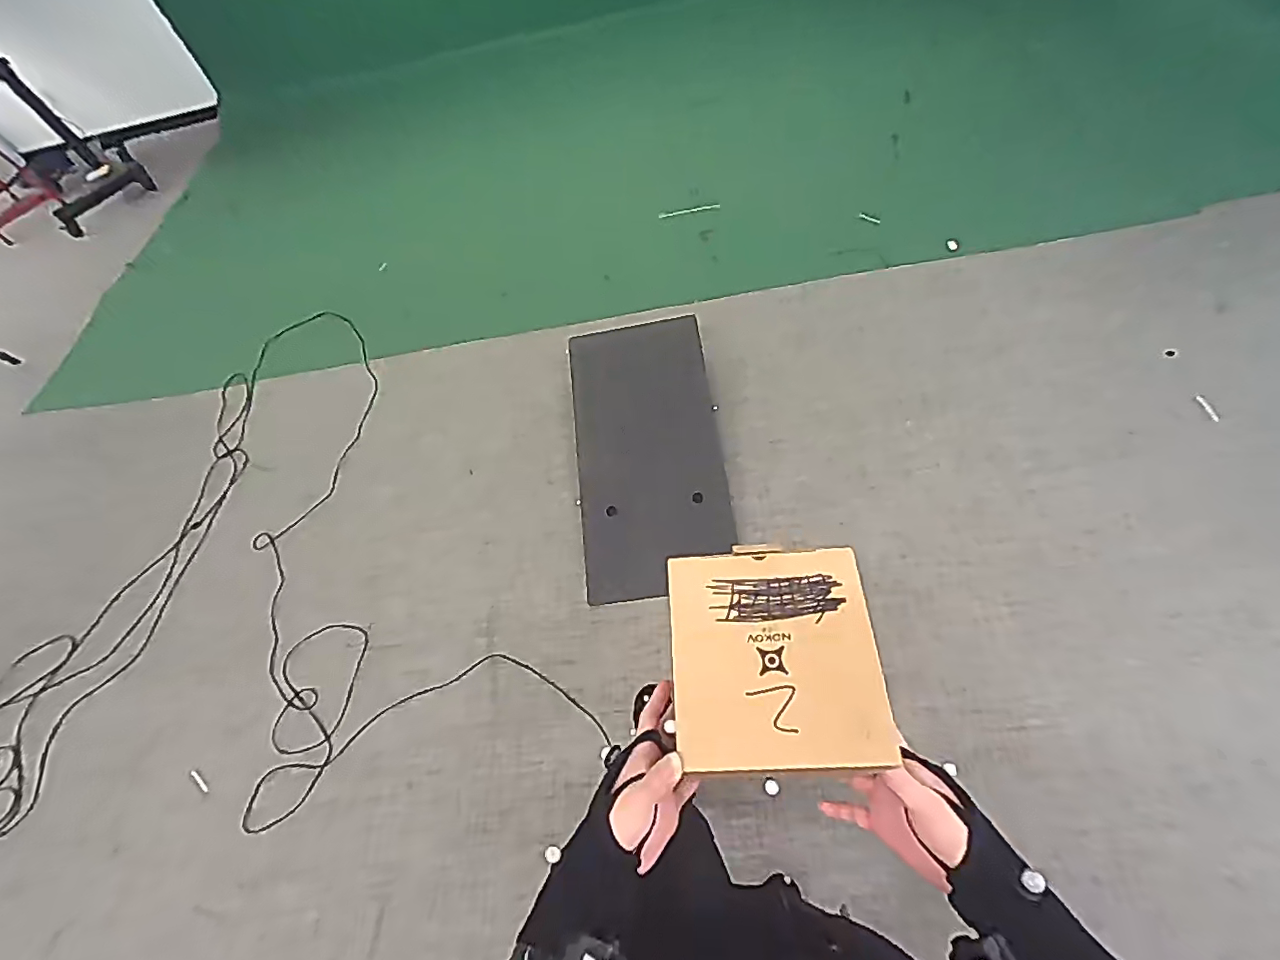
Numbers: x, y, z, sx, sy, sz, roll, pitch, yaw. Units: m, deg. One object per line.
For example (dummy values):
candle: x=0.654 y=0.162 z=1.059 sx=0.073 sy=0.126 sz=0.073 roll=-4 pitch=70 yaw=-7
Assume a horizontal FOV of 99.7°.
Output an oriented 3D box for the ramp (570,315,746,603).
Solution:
ramp: x=0.031 y=-0.114 z=1.833 sx=0.509 sy=0.206 sz=0.991 roll=-10 pitch=58 yaw=4
